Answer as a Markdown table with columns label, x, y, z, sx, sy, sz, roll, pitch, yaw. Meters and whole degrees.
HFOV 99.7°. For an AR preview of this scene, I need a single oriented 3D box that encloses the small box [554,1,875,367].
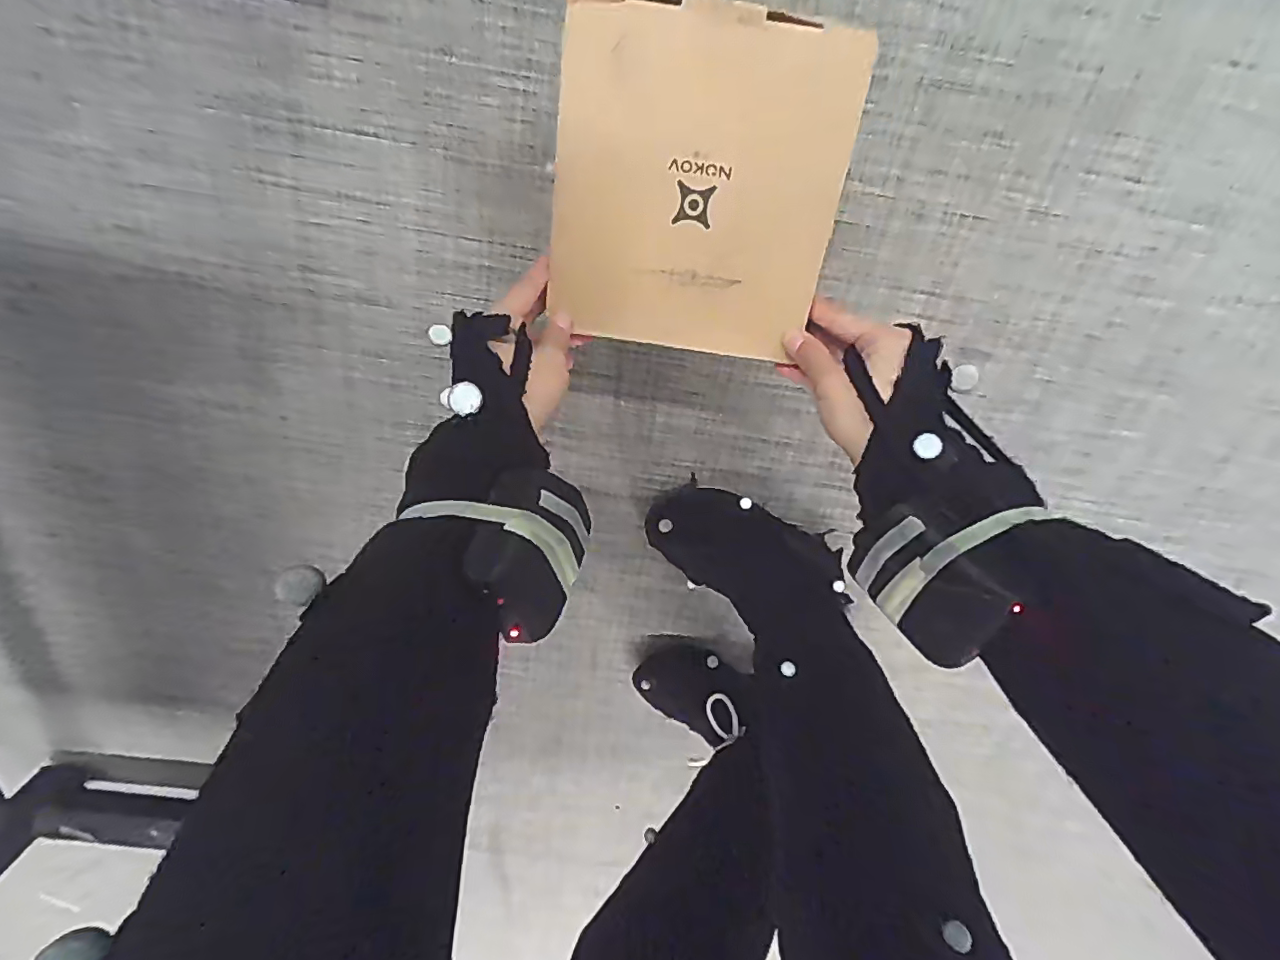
| label | x | y | z | sx | sy | sz | roll | pitch | yaw |
| --- | --- | --- | --- | --- | --- | --- | --- | --- | --- |
| small box | 0.039 | -0.196 | 0.391 | 0.168 | 0.176 | 0.179 | 8 | 116 | 0 |
